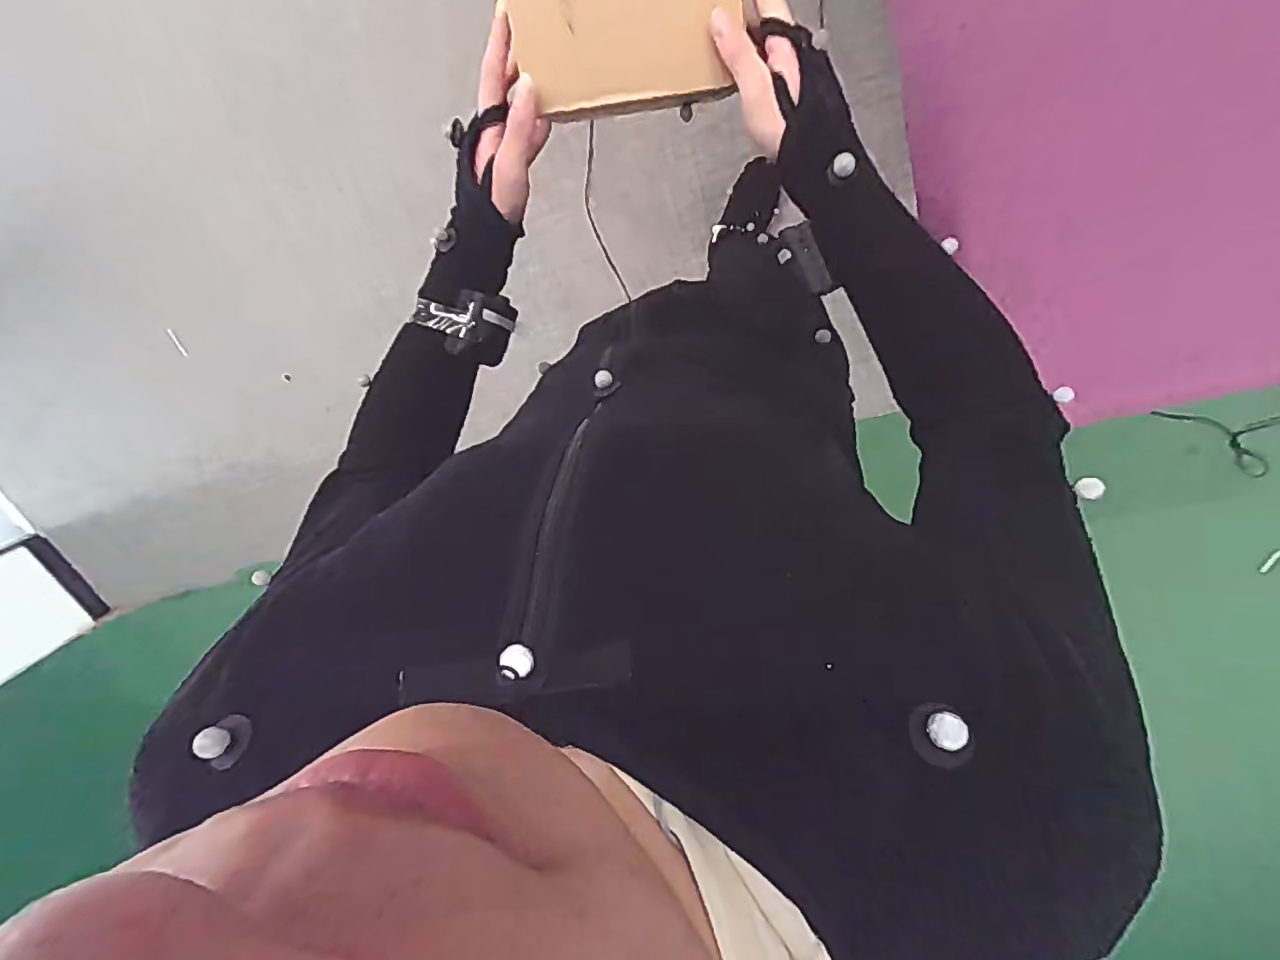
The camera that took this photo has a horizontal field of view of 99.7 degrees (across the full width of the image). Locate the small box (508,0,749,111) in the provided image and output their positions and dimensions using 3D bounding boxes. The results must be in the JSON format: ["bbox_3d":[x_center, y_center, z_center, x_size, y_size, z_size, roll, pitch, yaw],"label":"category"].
[{"bbox_3d":[-0.011,-0.413,0.441,0.179,0.176,0.168,-5,121,4],"label":"small box"}]
